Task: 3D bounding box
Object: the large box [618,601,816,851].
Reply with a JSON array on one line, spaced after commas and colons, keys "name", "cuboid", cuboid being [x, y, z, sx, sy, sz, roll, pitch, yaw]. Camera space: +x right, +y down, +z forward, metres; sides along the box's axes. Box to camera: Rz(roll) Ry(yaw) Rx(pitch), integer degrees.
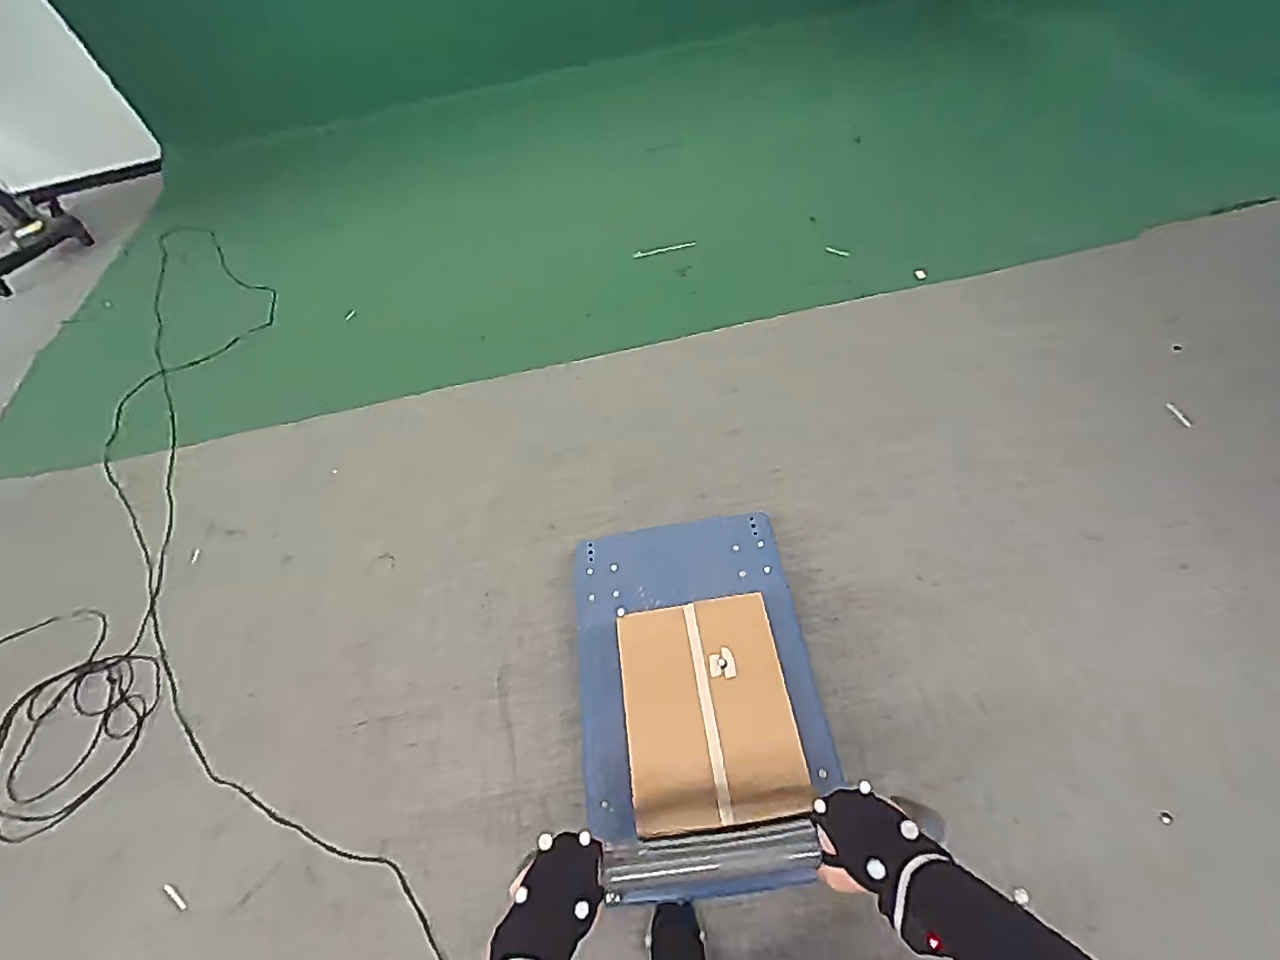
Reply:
[{"name": "large box", "cuboid": [0.149, 0.529, 1.159, 0.320, 0.320, 0.408, -10, 53, 2]}]
